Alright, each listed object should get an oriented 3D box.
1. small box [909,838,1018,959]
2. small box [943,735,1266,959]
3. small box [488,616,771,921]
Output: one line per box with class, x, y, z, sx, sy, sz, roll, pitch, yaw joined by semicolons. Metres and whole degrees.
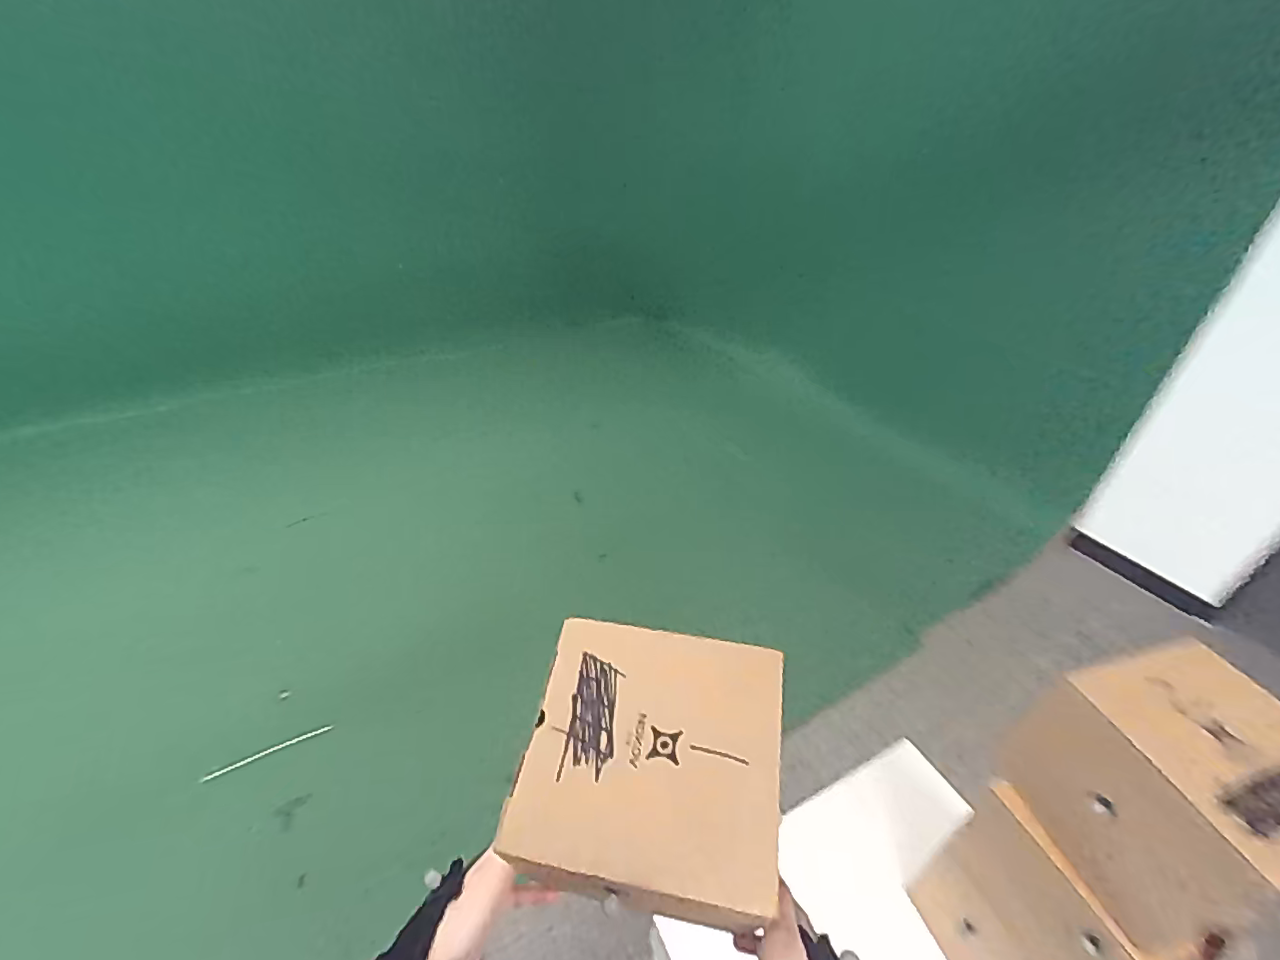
small box;0.480;0.556;0.686;0.168;0.176;0.179;-12;38;-15
small box;0.476;0.424;0.590;0.168;0.176;0.179;-13;39;-16
small box;0.006;0.234;0.438;0.179;0.176;0.168;7;48;8
